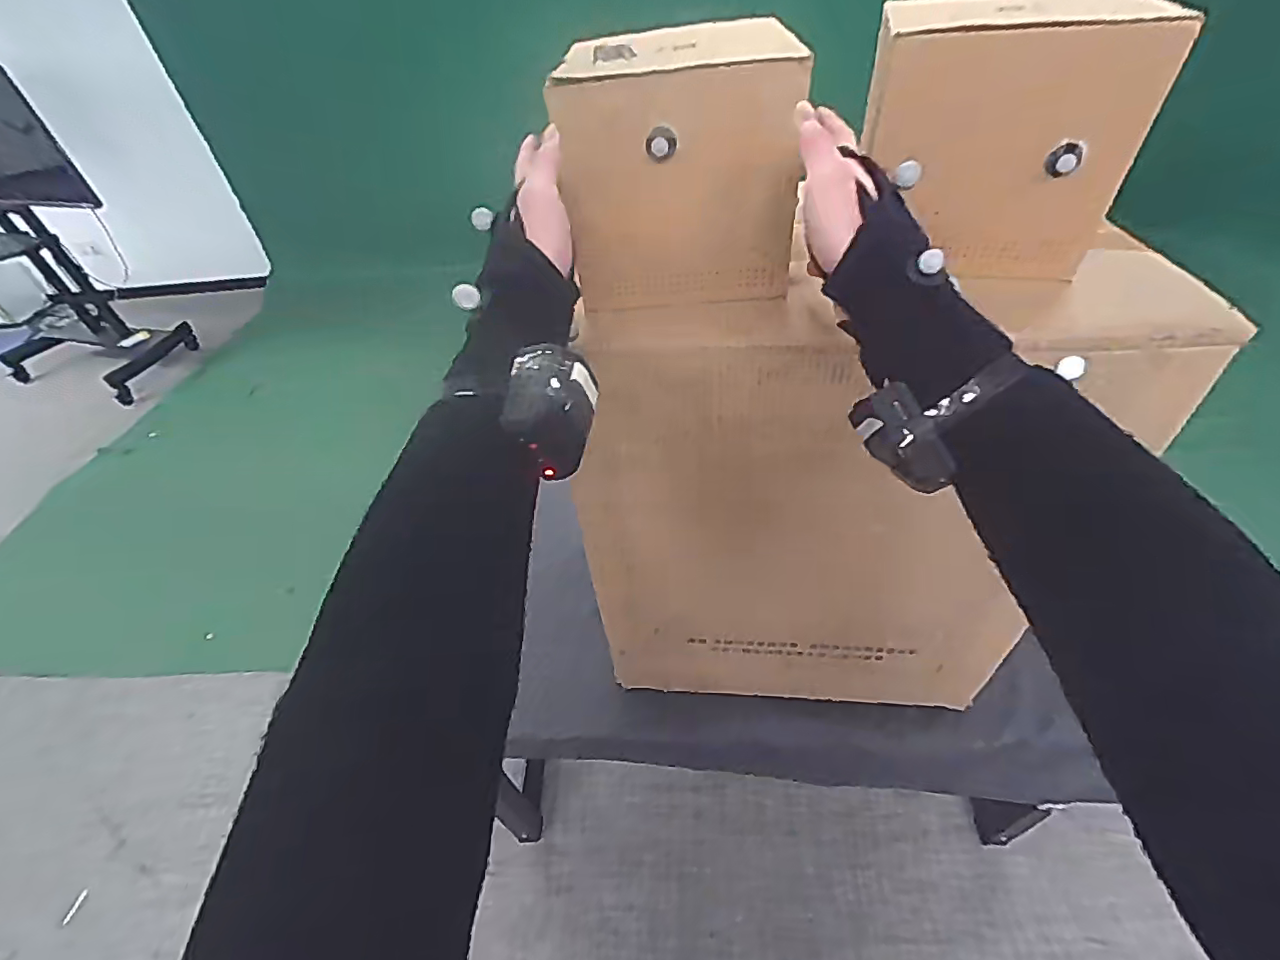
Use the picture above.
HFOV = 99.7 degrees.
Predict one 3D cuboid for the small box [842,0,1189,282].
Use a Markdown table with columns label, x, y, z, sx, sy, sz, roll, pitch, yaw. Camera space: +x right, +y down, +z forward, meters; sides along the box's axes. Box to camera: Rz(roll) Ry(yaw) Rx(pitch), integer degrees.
| label | x | y | z | sx | sy | sz | roll | pitch | yaw |
| --- | --- | --- | --- | --- | --- | --- | --- | --- | --- |
| small box | 0.279 | -0.282 | 0.455 | 0.179 | 0.176 | 0.168 | 8 | 47 | 15 |

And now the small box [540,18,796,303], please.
| label | x | y | z | sx | sy | sz | roll | pitch | yaw |
| --- | --- | --- | --- | --- | --- | --- | --- | --- | --- |
| small box | 0.034 | -0.269 | 0.469 | 0.179 | 0.176 | 0.168 | 0 | 49 | 9 |
